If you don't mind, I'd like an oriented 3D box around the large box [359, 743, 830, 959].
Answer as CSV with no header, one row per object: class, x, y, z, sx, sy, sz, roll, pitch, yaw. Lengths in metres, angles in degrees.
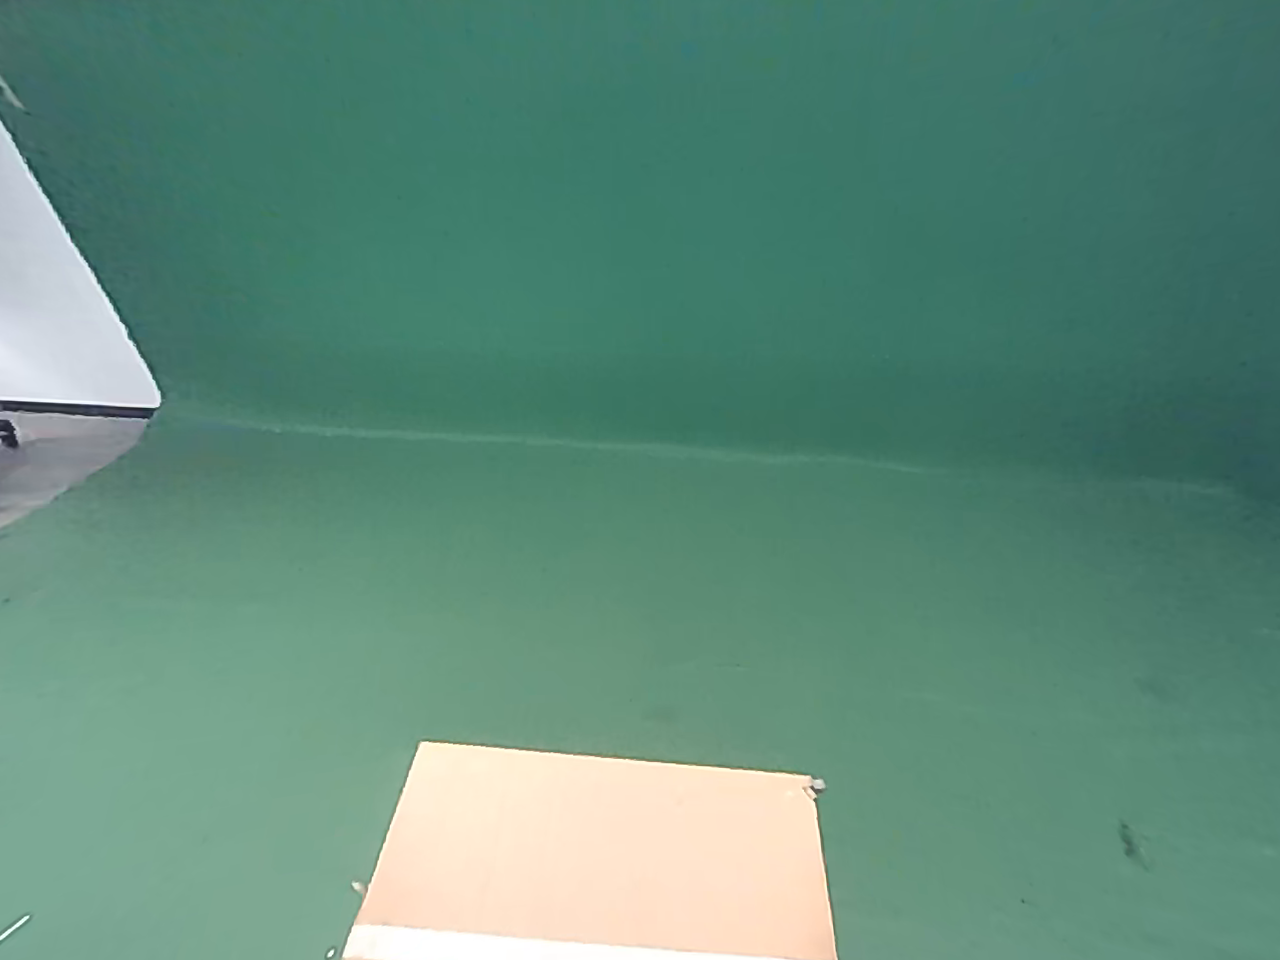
large box,-0.045,0.503,0.563,0.408,0.320,0.320,5,45,0
